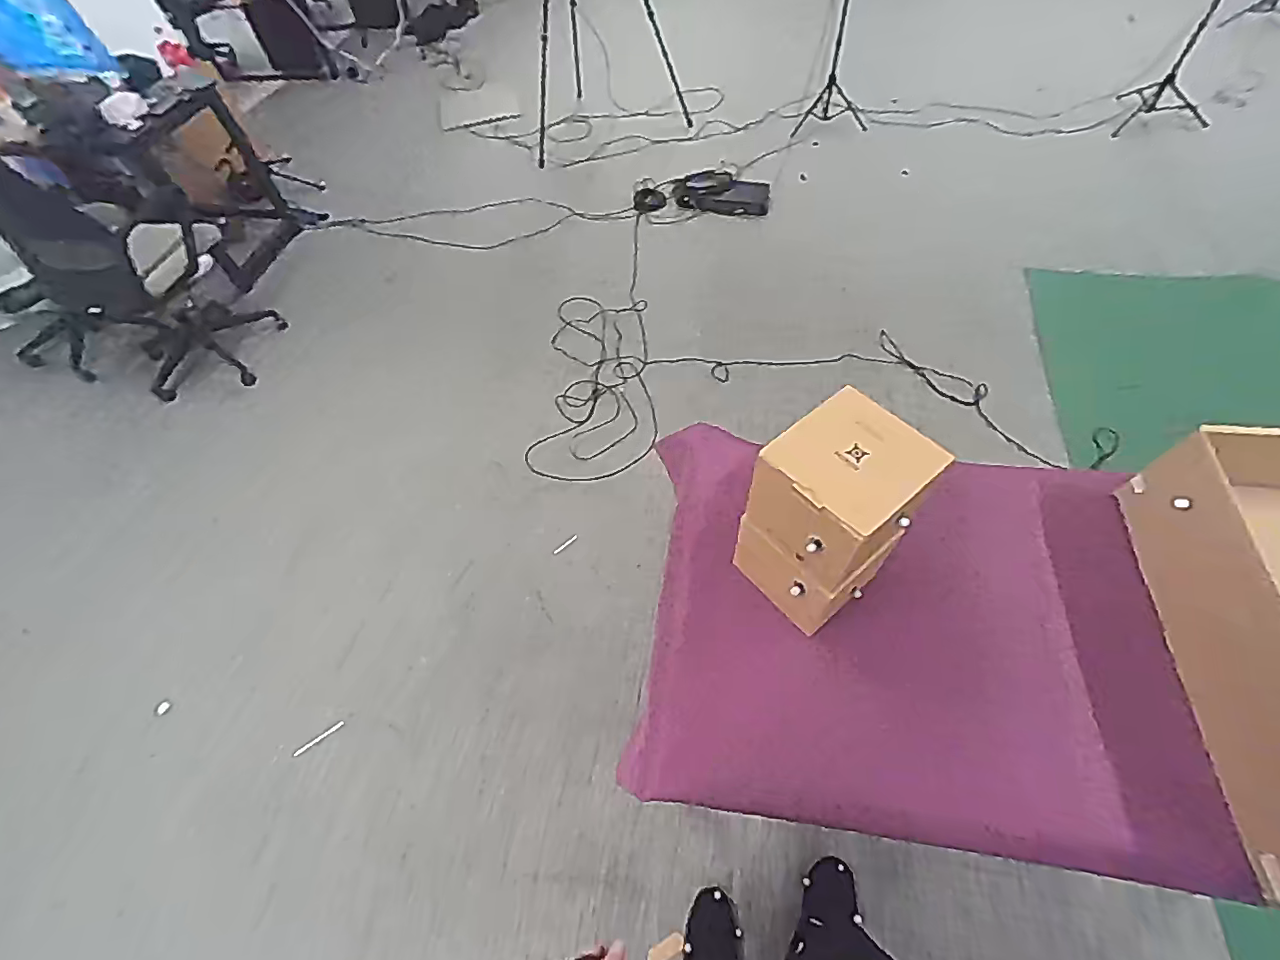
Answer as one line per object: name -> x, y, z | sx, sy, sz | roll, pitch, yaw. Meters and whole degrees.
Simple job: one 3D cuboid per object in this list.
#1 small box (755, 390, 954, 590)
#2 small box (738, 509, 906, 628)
small box -> 0.273, 0.019, 0.734 | 0.179, 0.176, 0.168 | -35, 61, -18
small box -> 0.278, 0.114, 0.867 | 0.168, 0.176, 0.179 | -35, 60, -18
